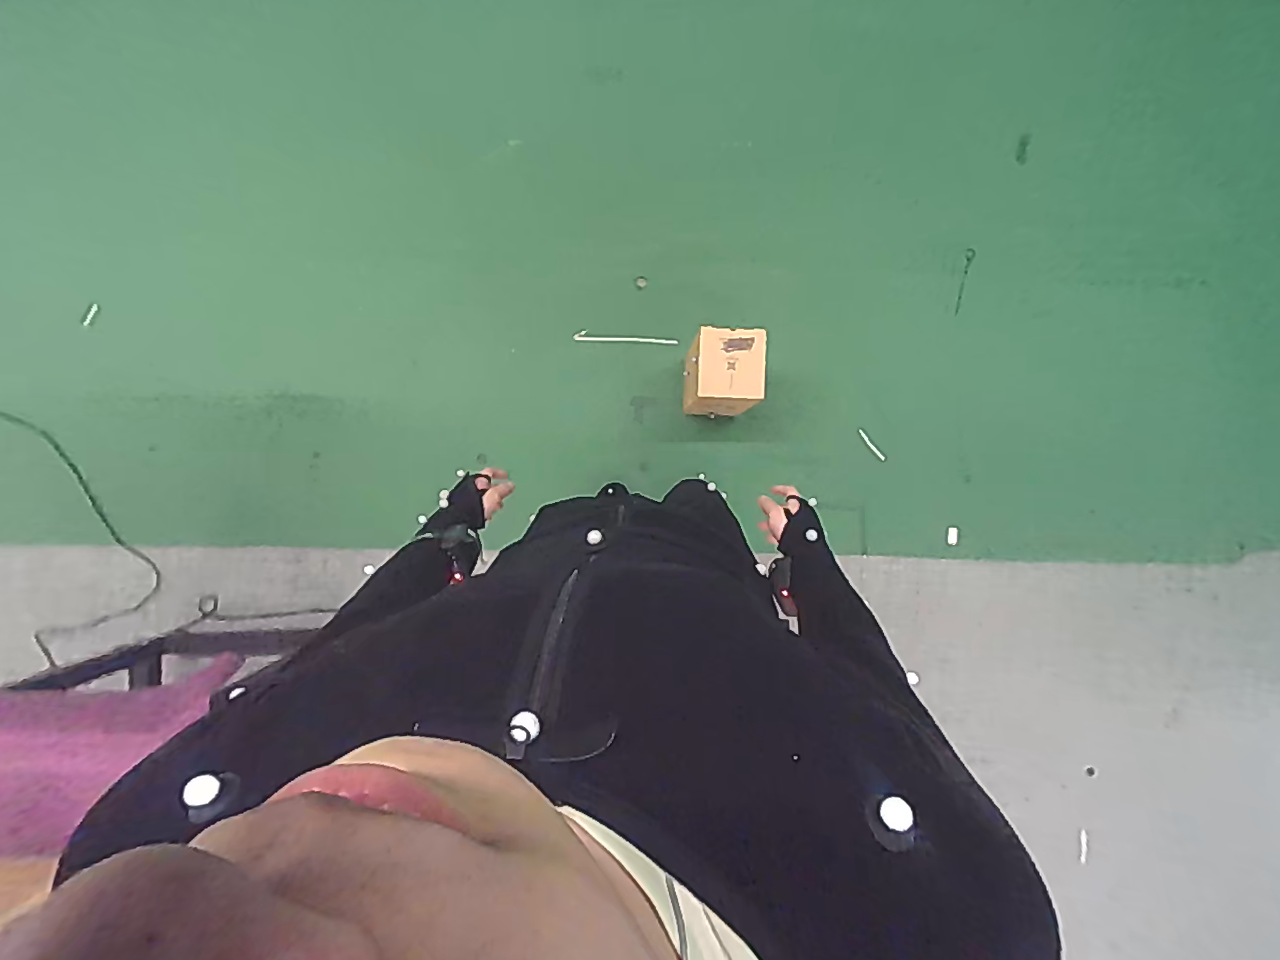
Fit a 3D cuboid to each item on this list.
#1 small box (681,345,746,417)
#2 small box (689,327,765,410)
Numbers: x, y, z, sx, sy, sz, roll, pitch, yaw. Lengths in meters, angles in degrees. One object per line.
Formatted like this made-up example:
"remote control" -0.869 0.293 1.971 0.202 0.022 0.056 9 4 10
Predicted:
"small box" 0.211 -0.282 1.565 0.168 0.176 0.179 2 90 -2
"small box" 0.219 -0.284 1.401 0.168 0.176 0.179 2 90 -2
